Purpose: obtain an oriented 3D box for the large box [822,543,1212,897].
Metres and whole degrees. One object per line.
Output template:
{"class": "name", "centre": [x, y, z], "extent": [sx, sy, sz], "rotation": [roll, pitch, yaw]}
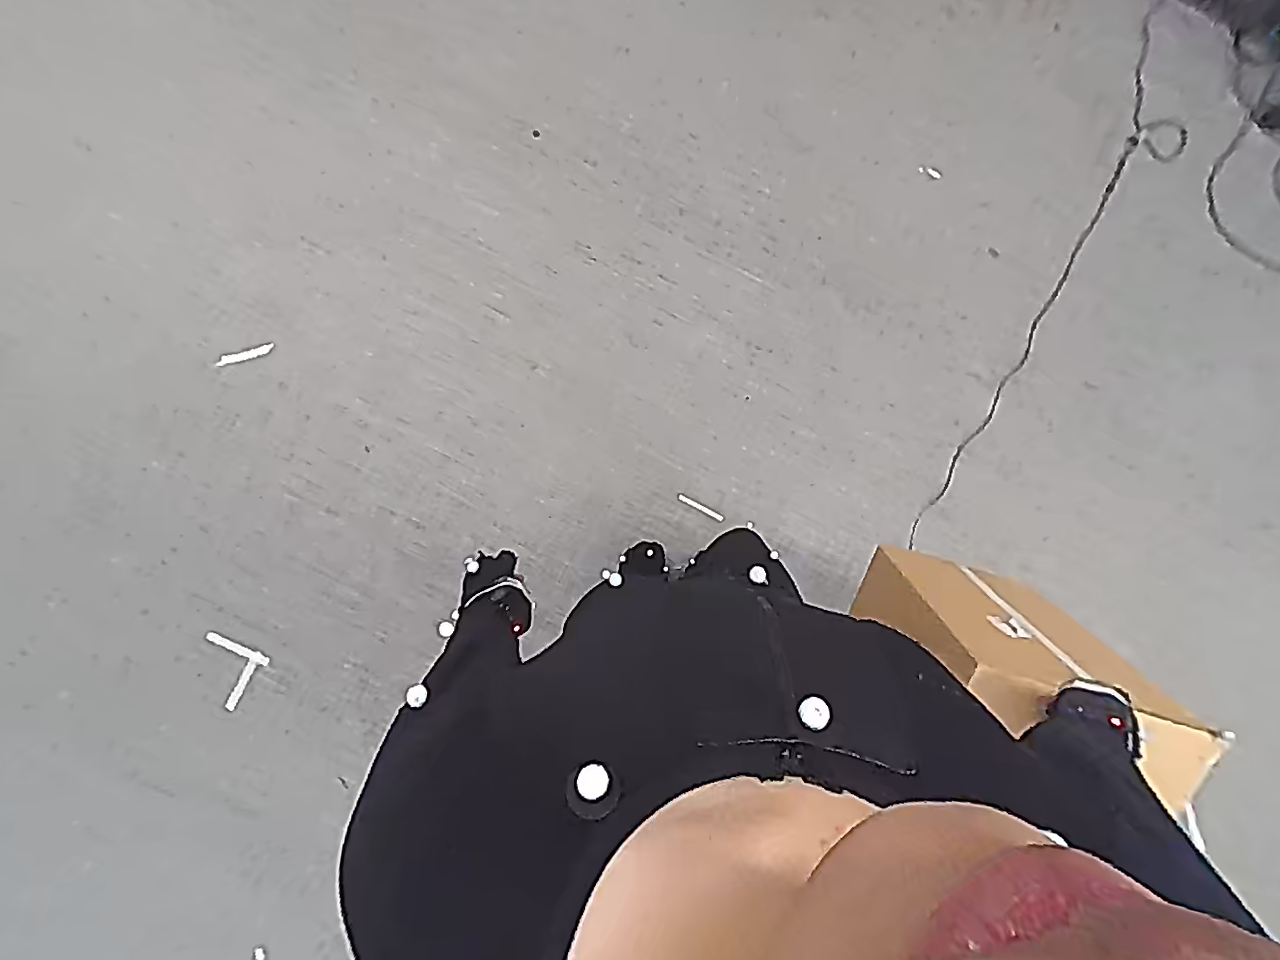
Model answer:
{"class": "large box", "centre": [0.547, 0.358, 0.907], "extent": [0.320, 0.408, 0.320], "rotation": [16, 107, 1]}
